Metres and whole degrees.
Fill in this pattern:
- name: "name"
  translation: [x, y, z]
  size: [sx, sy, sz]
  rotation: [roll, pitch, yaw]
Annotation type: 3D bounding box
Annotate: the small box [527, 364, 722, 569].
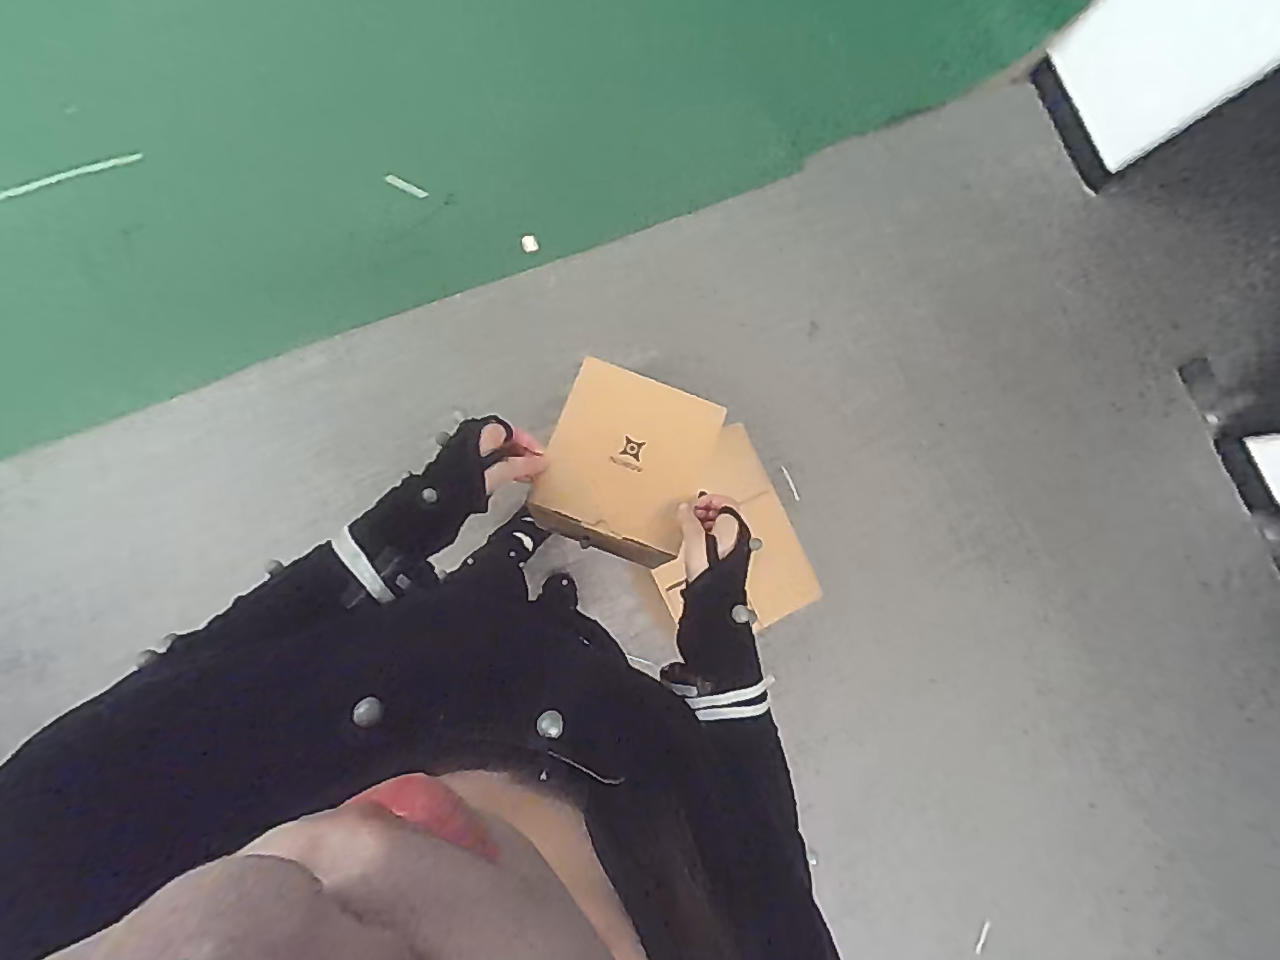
- name: "small box"
  translation: [-0.022, -0.004, 0.644]
  size: [0.168, 0.176, 0.179]
  rotation: [20, 77, -1]
